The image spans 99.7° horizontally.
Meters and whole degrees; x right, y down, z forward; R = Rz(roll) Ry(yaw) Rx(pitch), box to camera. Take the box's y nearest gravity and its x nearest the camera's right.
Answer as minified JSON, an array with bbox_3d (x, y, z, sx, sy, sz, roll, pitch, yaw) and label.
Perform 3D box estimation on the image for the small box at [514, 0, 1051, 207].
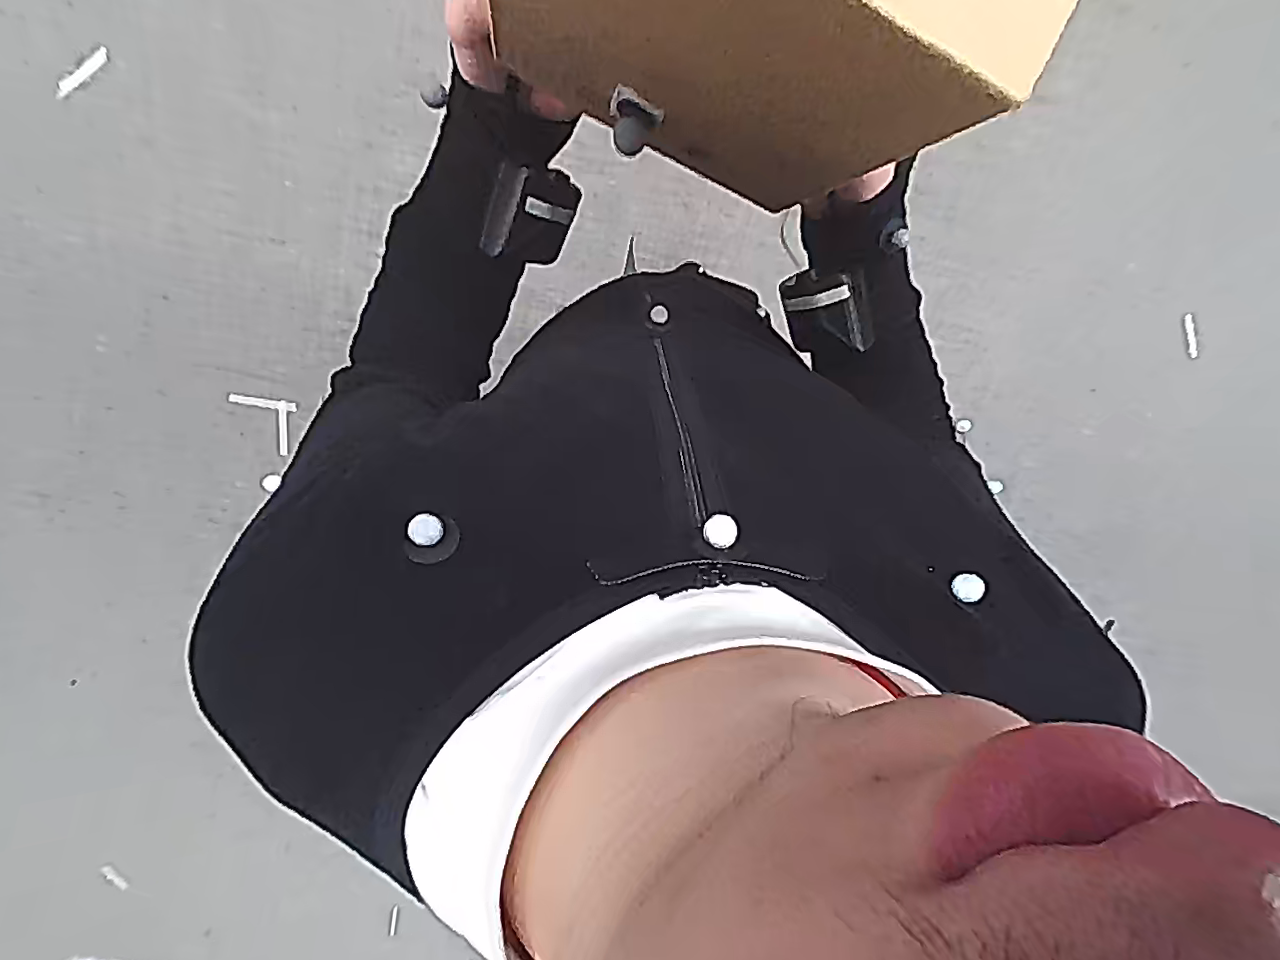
[{"bbox_3d":[0.051,-0.237,0.206,0.168,0.176,0.179,18,102,-15],"label":"small box"}]
